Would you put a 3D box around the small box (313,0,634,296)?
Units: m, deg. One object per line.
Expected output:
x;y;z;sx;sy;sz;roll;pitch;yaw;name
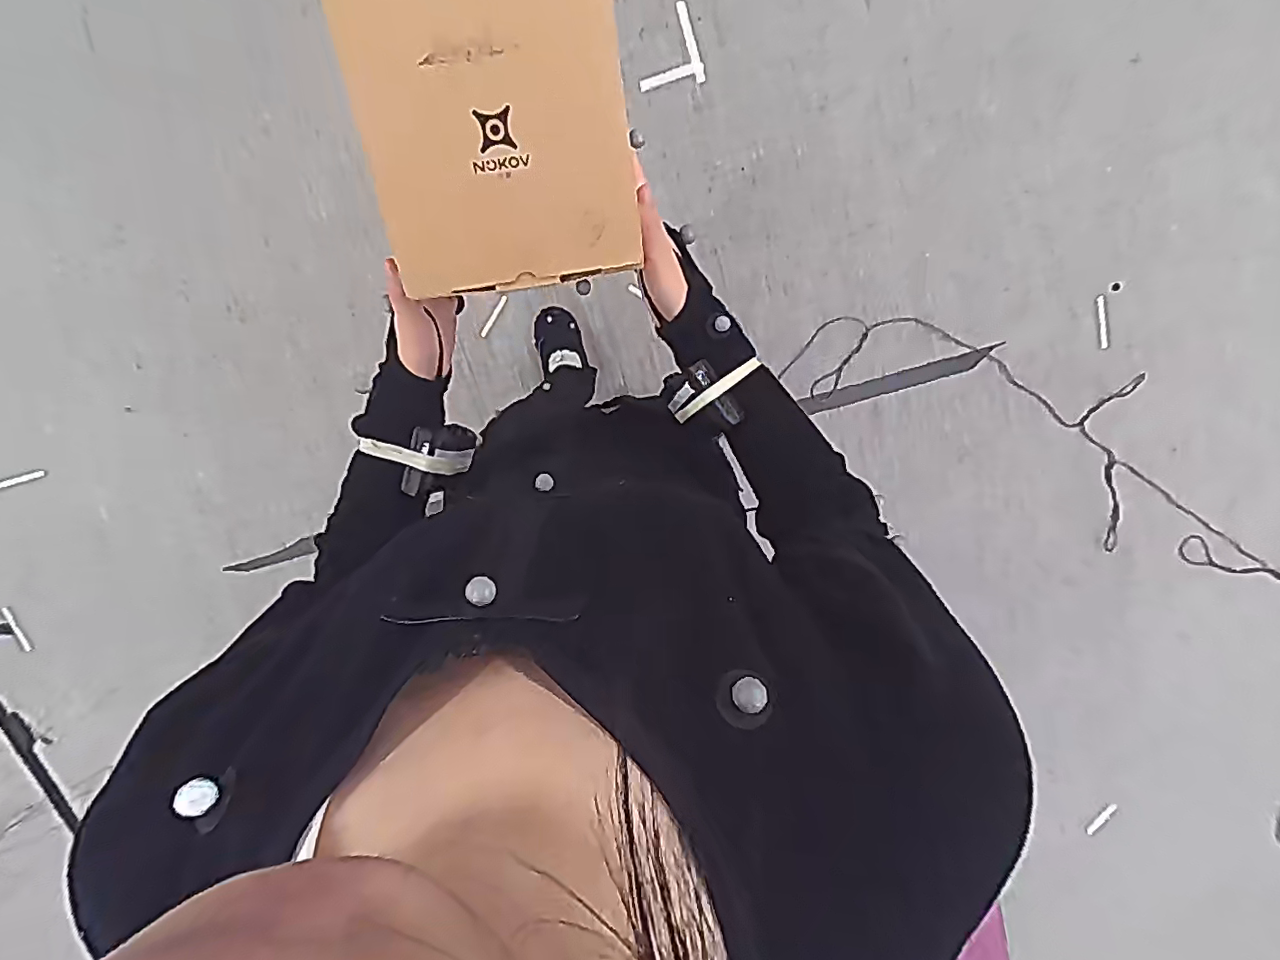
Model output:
-0.101;-0.246;0.408;0.168;0.176;0.179;-10;112;-2;small box
